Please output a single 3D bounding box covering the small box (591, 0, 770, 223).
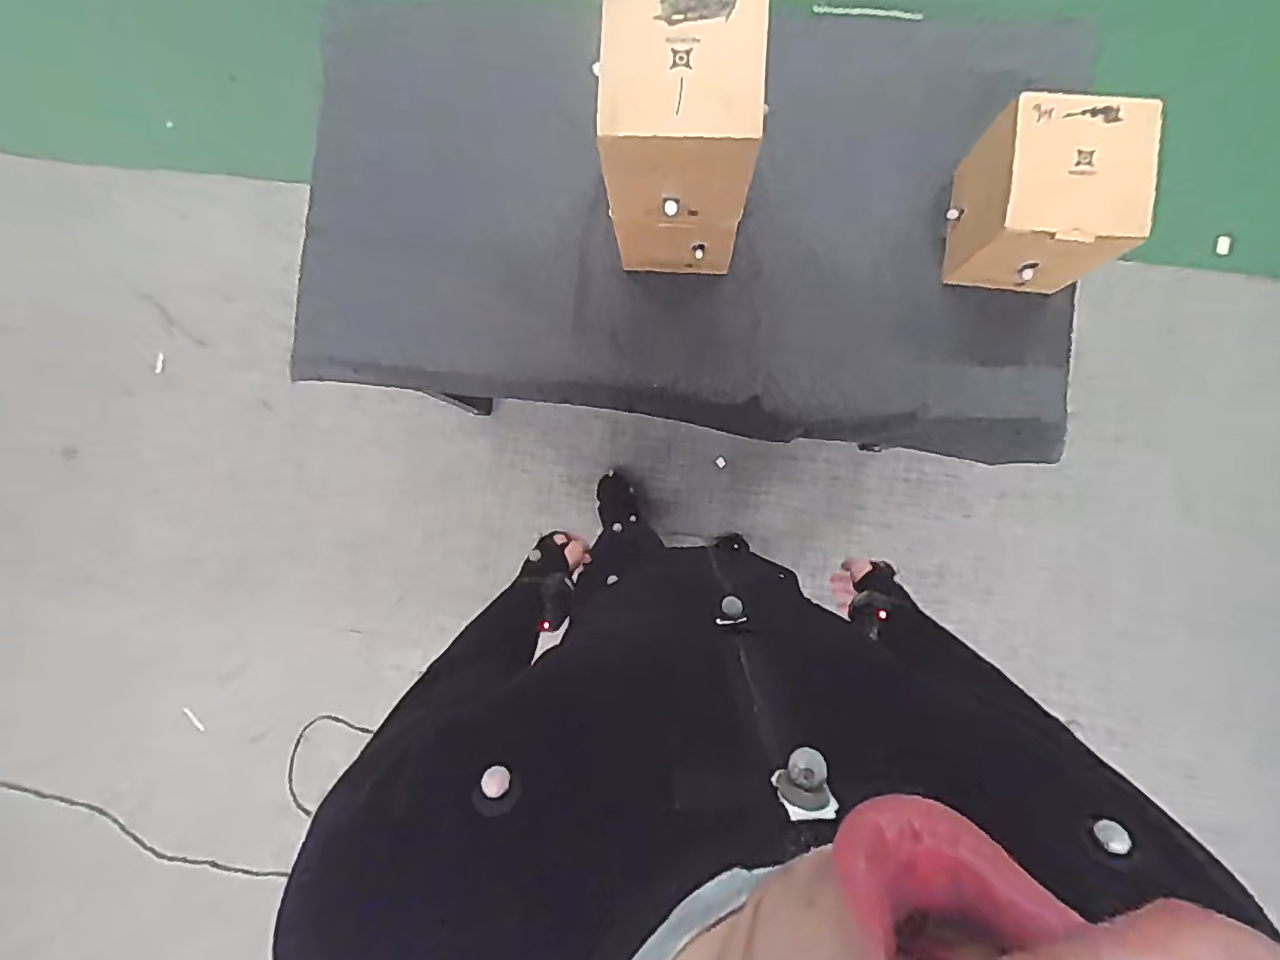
[{"bbox_3d":[0.042,-0.414,0.596,0.168,0.176,0.179,4,89,3],"label":"small box"}]

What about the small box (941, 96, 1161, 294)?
[{"bbox_3d":[0.531,-0.367,0.727,0.168,0.176,0.179,8,89,4],"label":"small box"}]

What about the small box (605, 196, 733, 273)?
[{"bbox_3d":[0.048,-0.410,0.760,0.168,0.176,0.179,4,87,2],"label":"small box"}]
